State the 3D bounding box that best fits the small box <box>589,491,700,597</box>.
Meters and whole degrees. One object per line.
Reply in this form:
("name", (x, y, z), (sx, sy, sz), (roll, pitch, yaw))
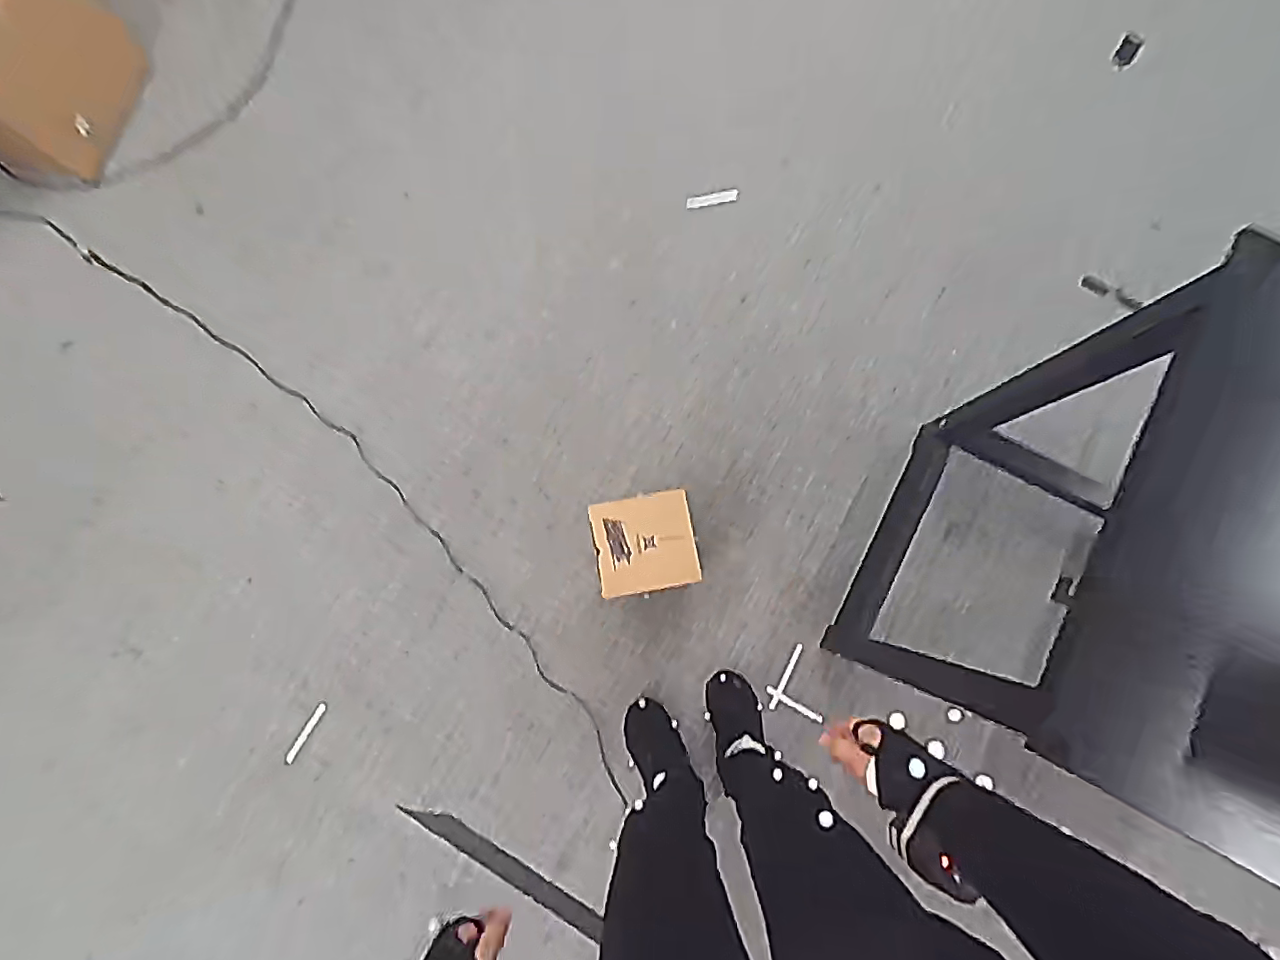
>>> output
("small box", (0.009, 0.126, 1.028), (0.179, 0.176, 0.168), (-10, 80, -1))
